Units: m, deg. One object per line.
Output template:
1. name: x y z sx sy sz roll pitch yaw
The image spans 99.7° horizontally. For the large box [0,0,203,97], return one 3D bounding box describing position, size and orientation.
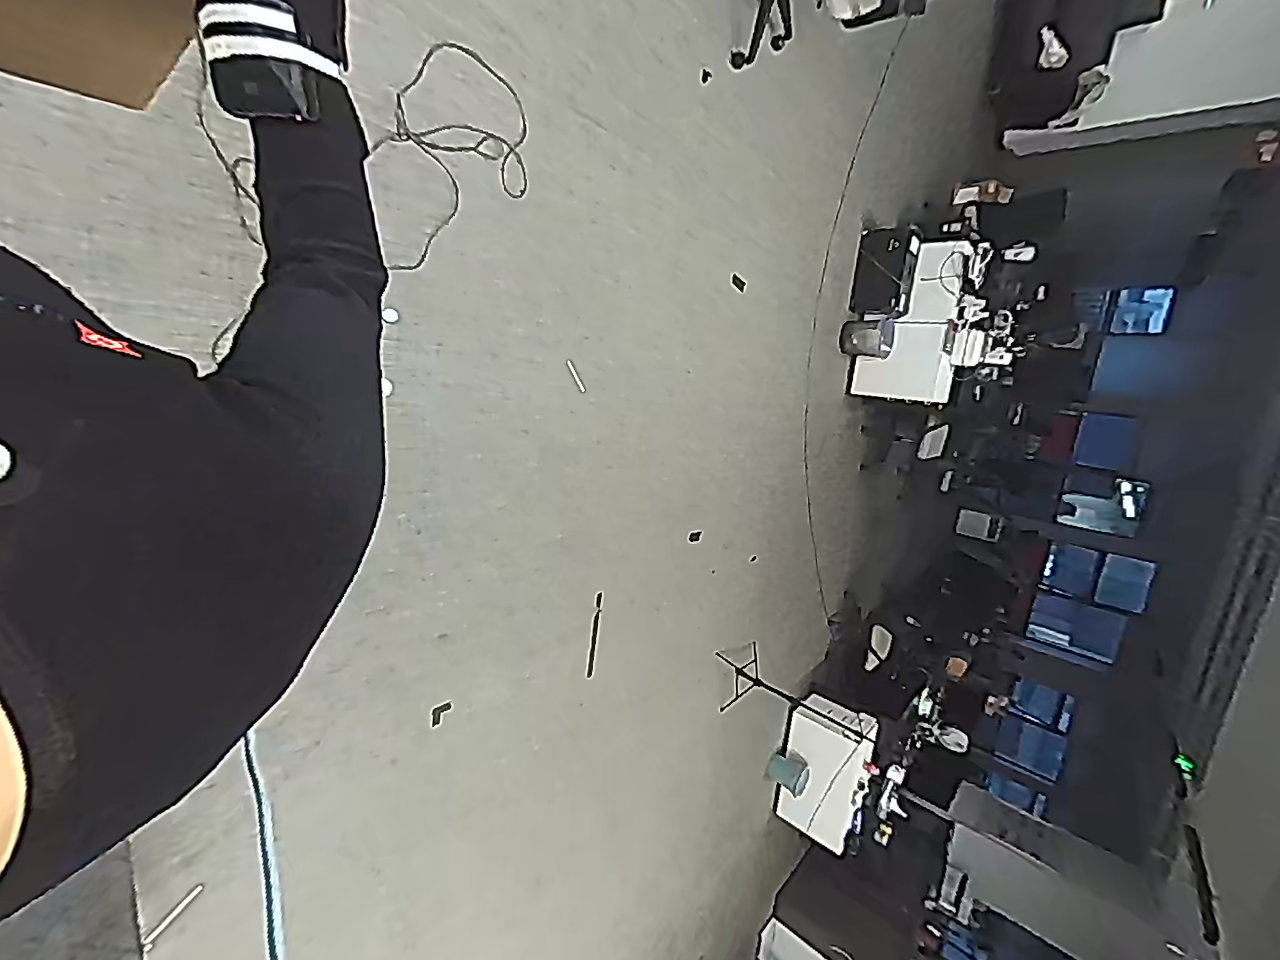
1. large box: -0.481 -0.456 0.240 0.408 0.320 0.320 -14 108 -50
